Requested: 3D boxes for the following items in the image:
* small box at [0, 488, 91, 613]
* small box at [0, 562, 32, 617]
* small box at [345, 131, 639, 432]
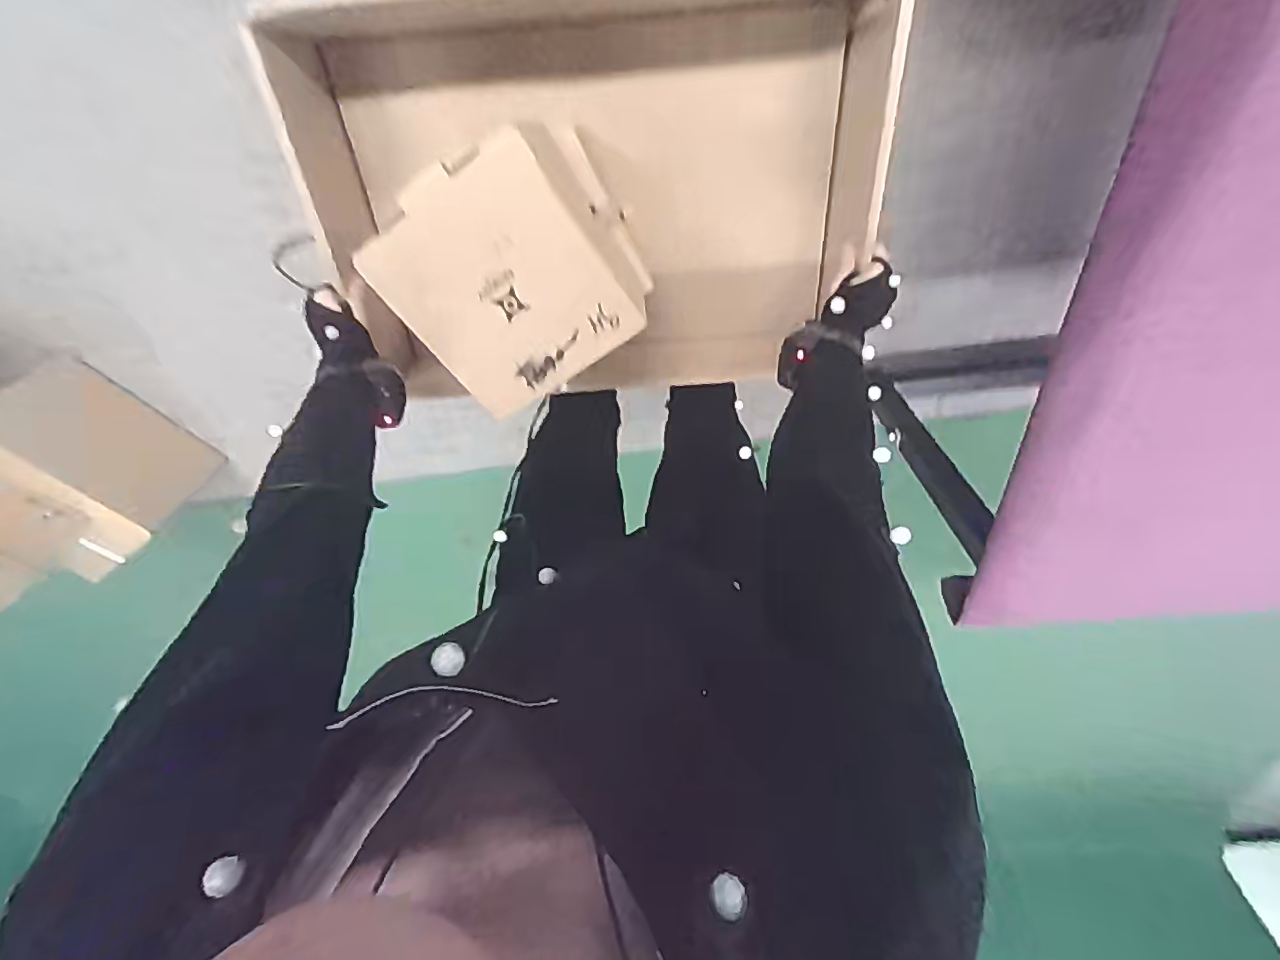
[{"bbox_3d":[-1.382,0.154,1.189,0.179,0.176,0.168,-35,120,23],"label":"small box"},{"bbox_3d":[-1.372,0.247,1.054,0.179,0.176,0.168,-31,122,20],"label":"small box"},{"bbox_3d":[-0.116,-0.182,0.497,0.168,0.176,0.179,-30,118,17],"label":"small box"}]
